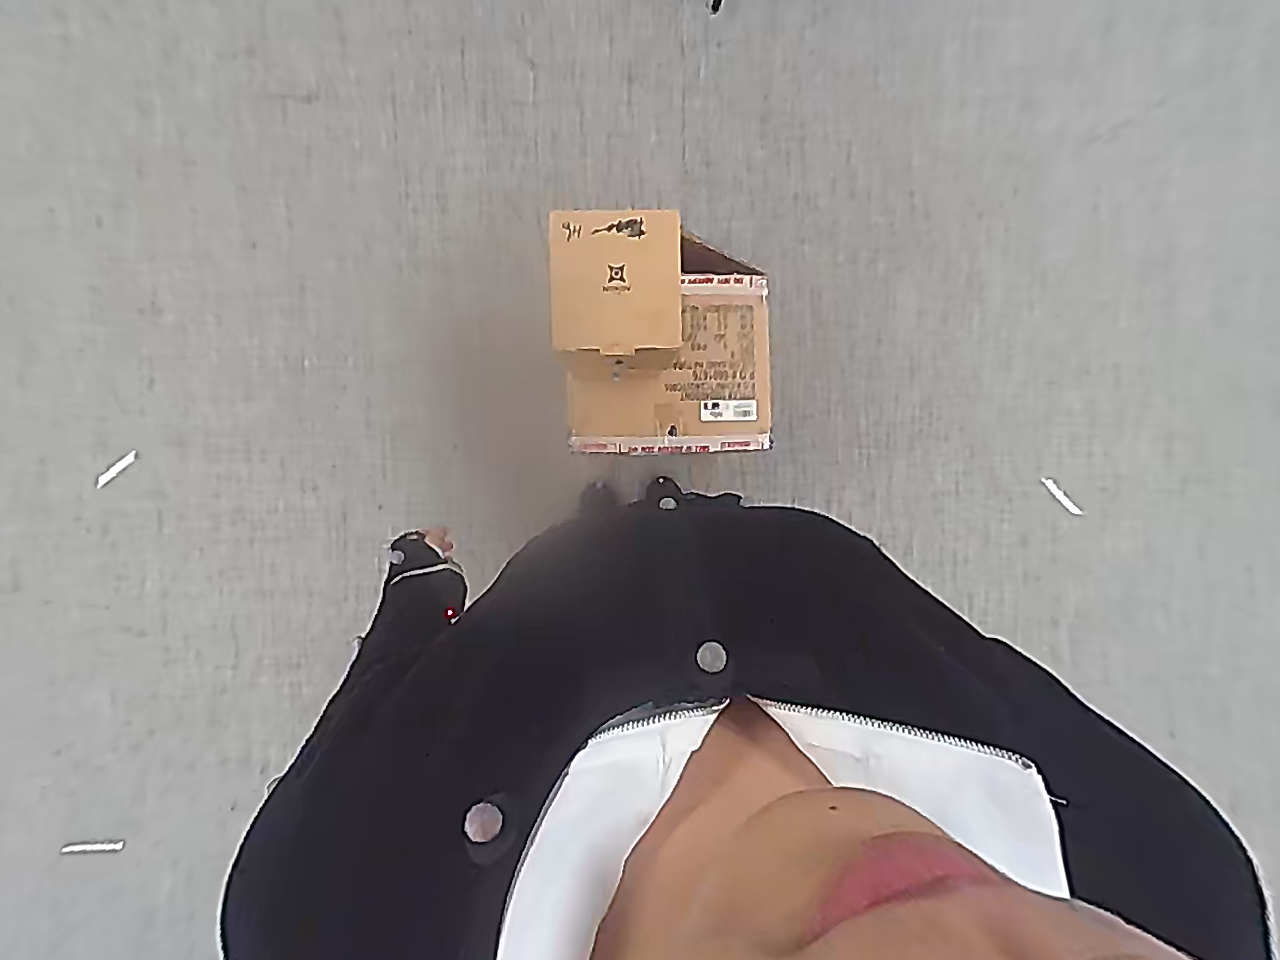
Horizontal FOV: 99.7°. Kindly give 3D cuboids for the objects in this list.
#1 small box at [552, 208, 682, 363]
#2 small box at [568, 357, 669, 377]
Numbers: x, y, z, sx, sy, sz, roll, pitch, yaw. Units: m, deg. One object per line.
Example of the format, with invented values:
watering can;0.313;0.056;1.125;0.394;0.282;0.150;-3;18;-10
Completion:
small box;-0.028;-0.259;0.761;0.168;0.176;0.179;-1;94;-1
small box;-0.037;-0.278;0.925;0.168;0.176;0.179;-3;94;-1
